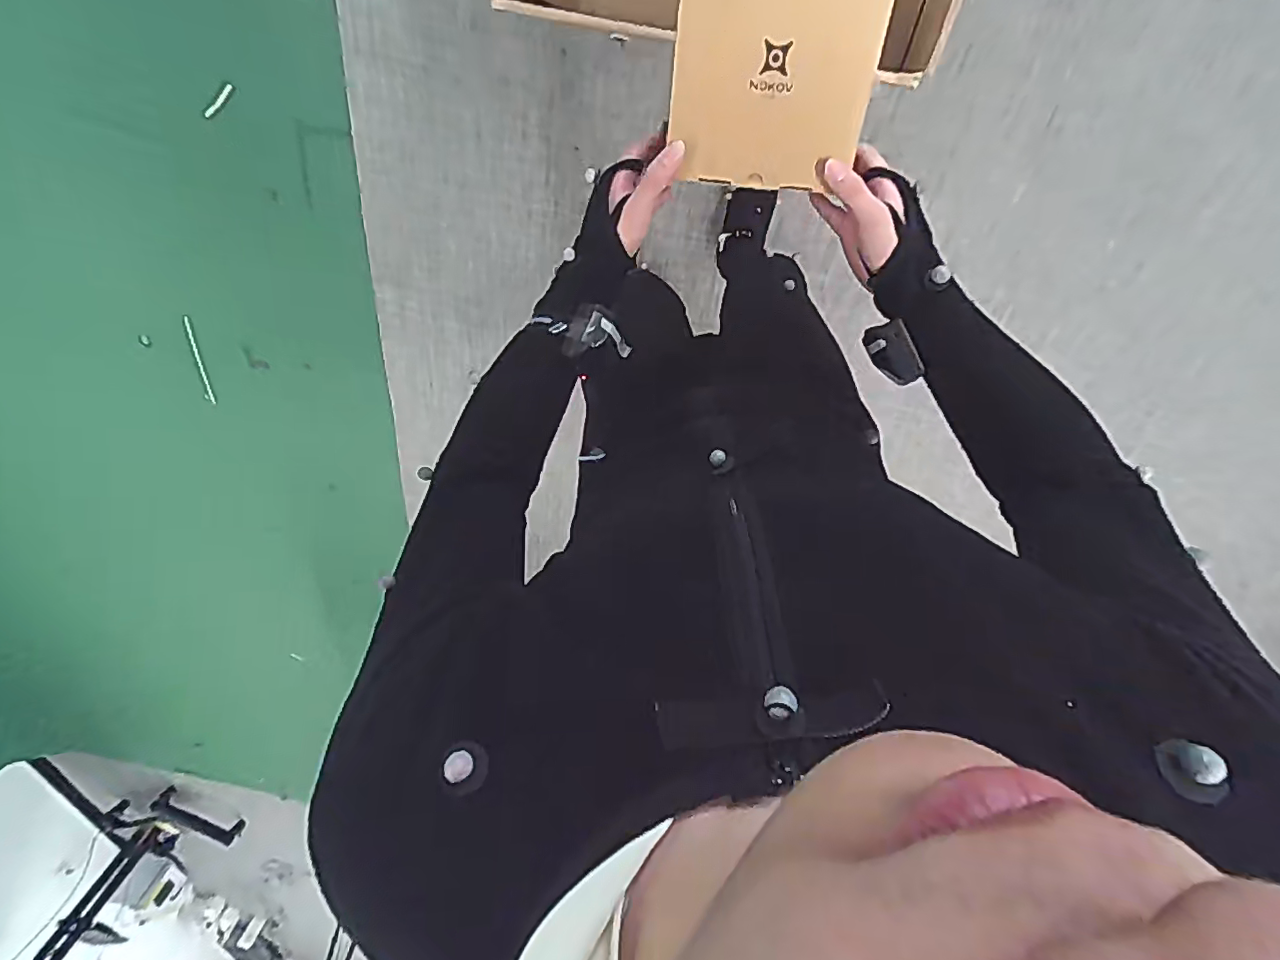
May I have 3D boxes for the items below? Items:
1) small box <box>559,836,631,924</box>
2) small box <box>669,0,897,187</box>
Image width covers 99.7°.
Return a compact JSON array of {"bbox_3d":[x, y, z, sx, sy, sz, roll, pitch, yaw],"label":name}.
[{"bbox_3d":[-0.142,1.278,1.735,0.179,0.176,0.168,18,125,-2],"label":"small box"},{"bbox_3d":[0.118,-0.384,0.500,0.168,0.176,0.179,6,125,2],"label":"small box"}]
